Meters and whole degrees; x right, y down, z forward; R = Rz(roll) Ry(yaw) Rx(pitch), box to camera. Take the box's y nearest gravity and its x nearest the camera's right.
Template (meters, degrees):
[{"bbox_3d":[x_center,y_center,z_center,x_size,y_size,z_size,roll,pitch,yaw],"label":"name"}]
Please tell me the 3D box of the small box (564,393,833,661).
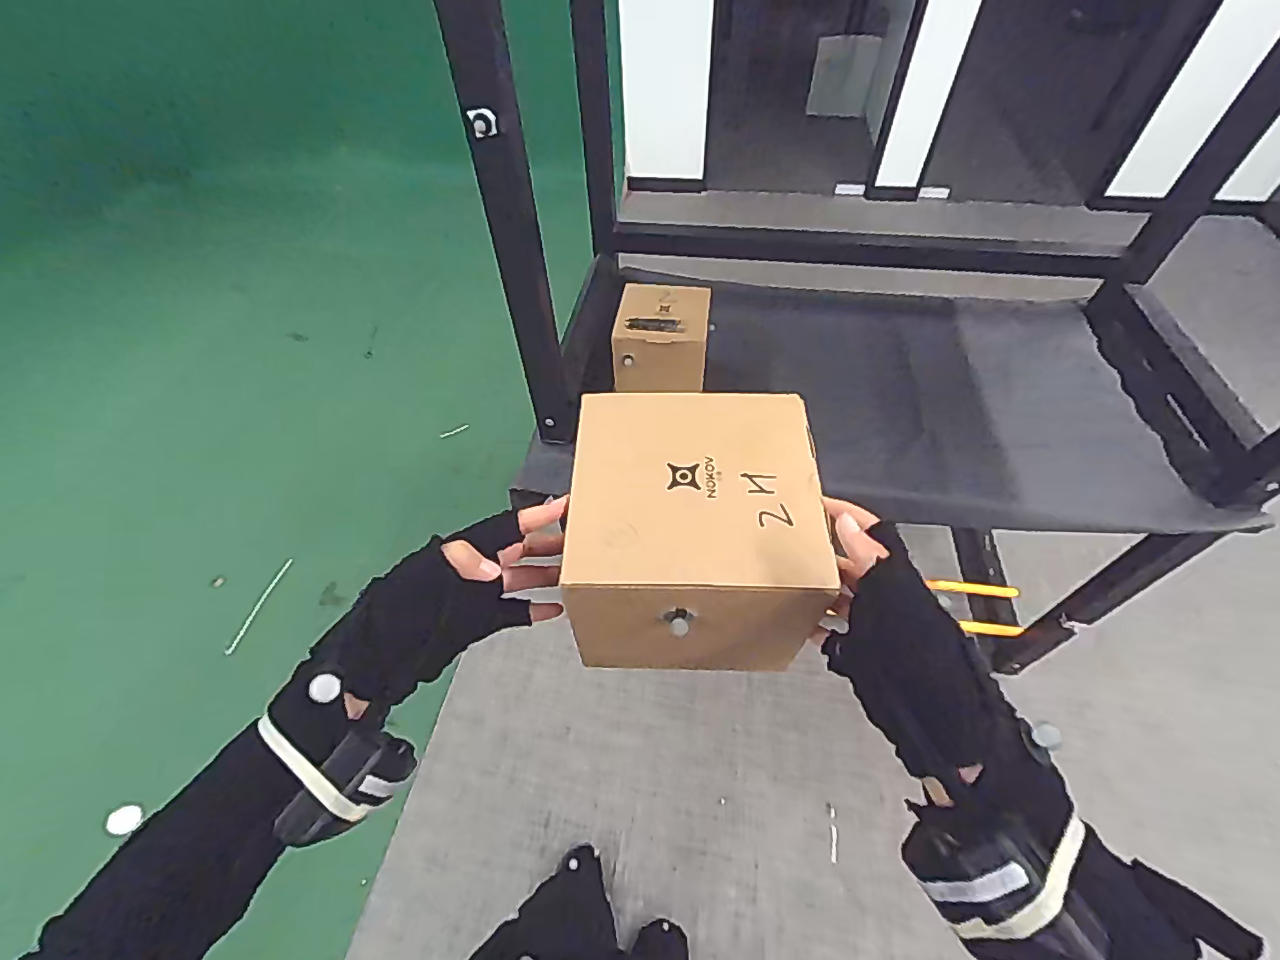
[{"bbox_3d":[0.041,0.045,0.455,0.179,0.176,0.168,1,55,1],"label":"small box"}]
